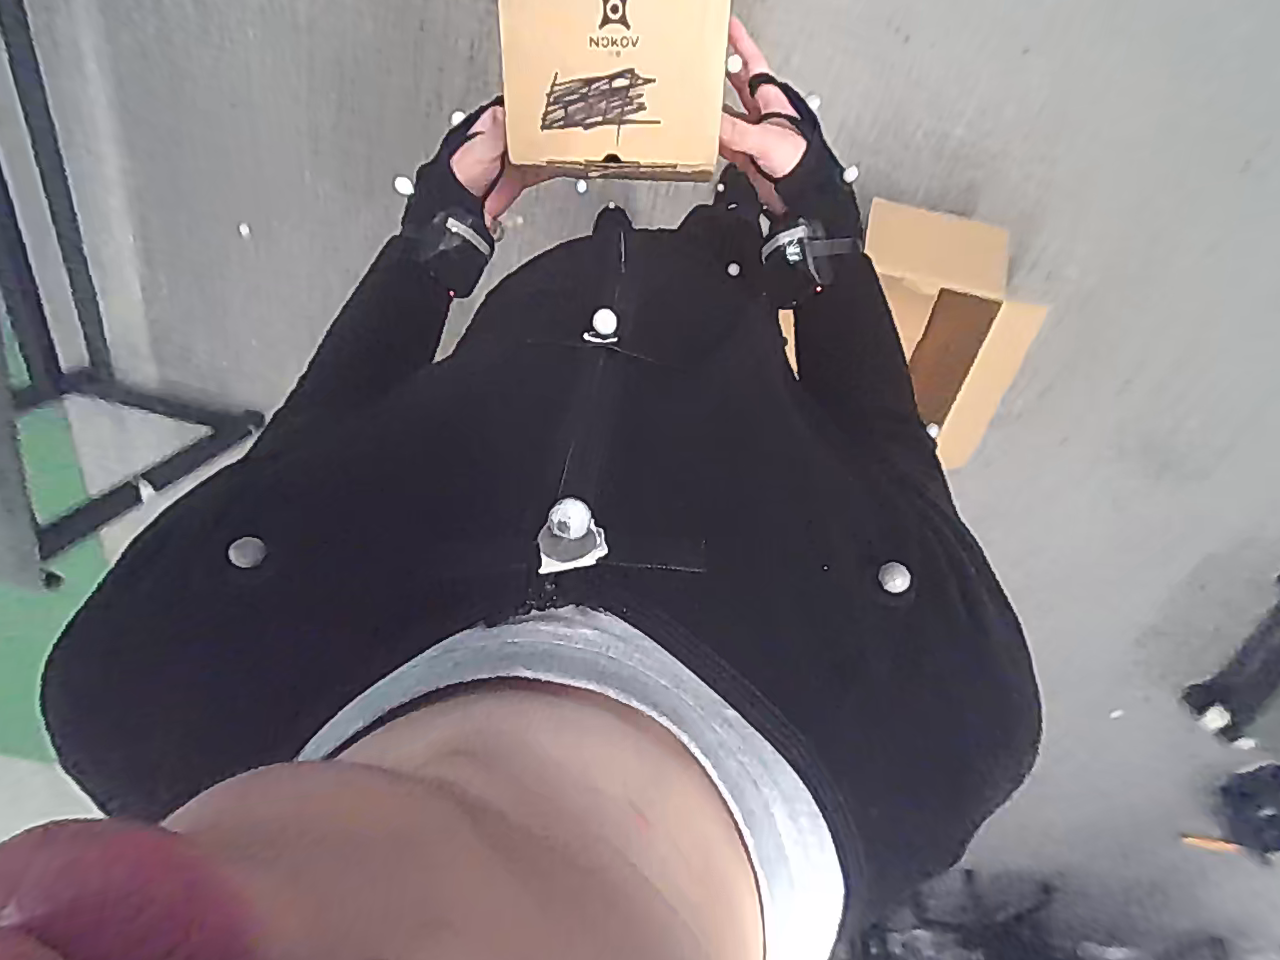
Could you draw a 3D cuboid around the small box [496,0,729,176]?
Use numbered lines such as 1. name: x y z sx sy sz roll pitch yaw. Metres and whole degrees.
1. small box: -0.013 -0.357 0.450 0.168 0.176 0.179 3 116 4
